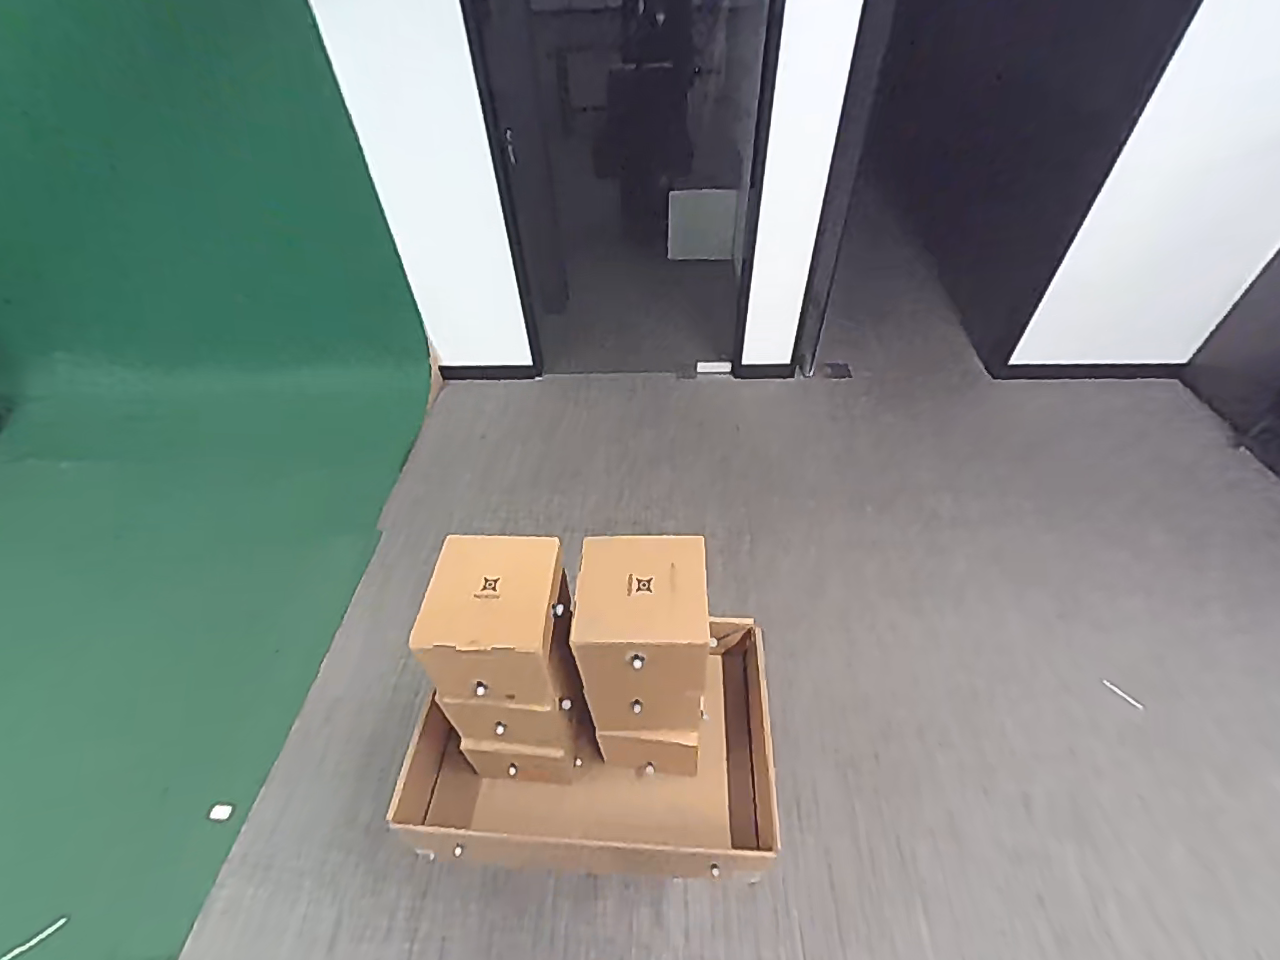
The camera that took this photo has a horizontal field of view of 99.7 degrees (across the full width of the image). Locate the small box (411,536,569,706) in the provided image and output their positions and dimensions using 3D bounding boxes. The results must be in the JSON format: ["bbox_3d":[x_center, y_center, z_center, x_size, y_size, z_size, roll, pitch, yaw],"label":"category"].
[{"bbox_3d":[-0.198,0.201,0.777,0.168,0.176,0.179,1,46,2],"label":"small box"}]
